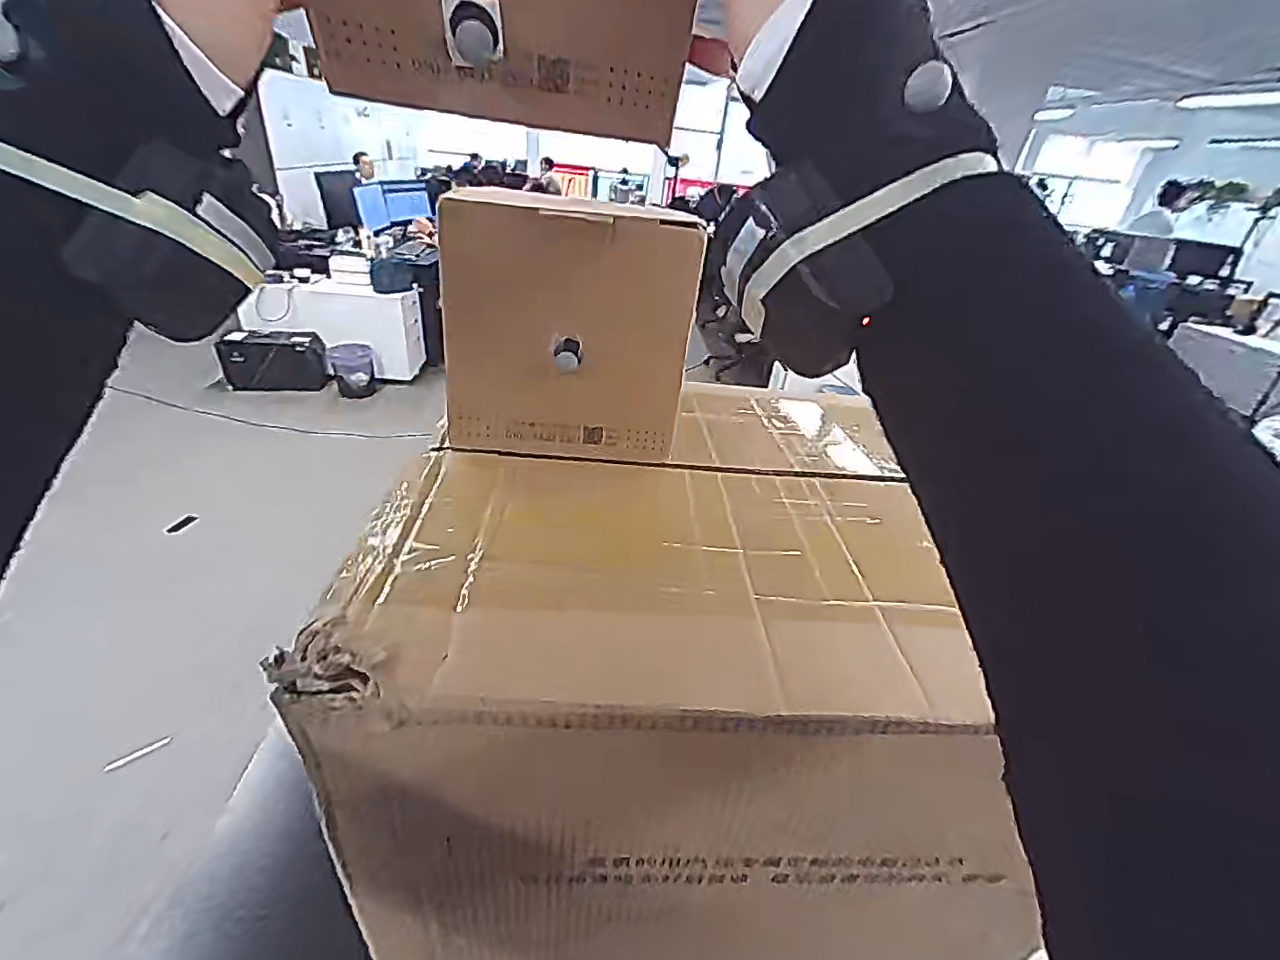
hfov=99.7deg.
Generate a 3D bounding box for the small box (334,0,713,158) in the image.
[{"bbox_3d":[-0.051,-0.284,0.249,0.168,0.176,0.179,2,56,-9],"label":"small box"}]

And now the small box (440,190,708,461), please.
[{"bbox_3d":[-0.050,-0.127,0.435,0.168,0.176,0.179,4,30,-6],"label":"small box"}]
